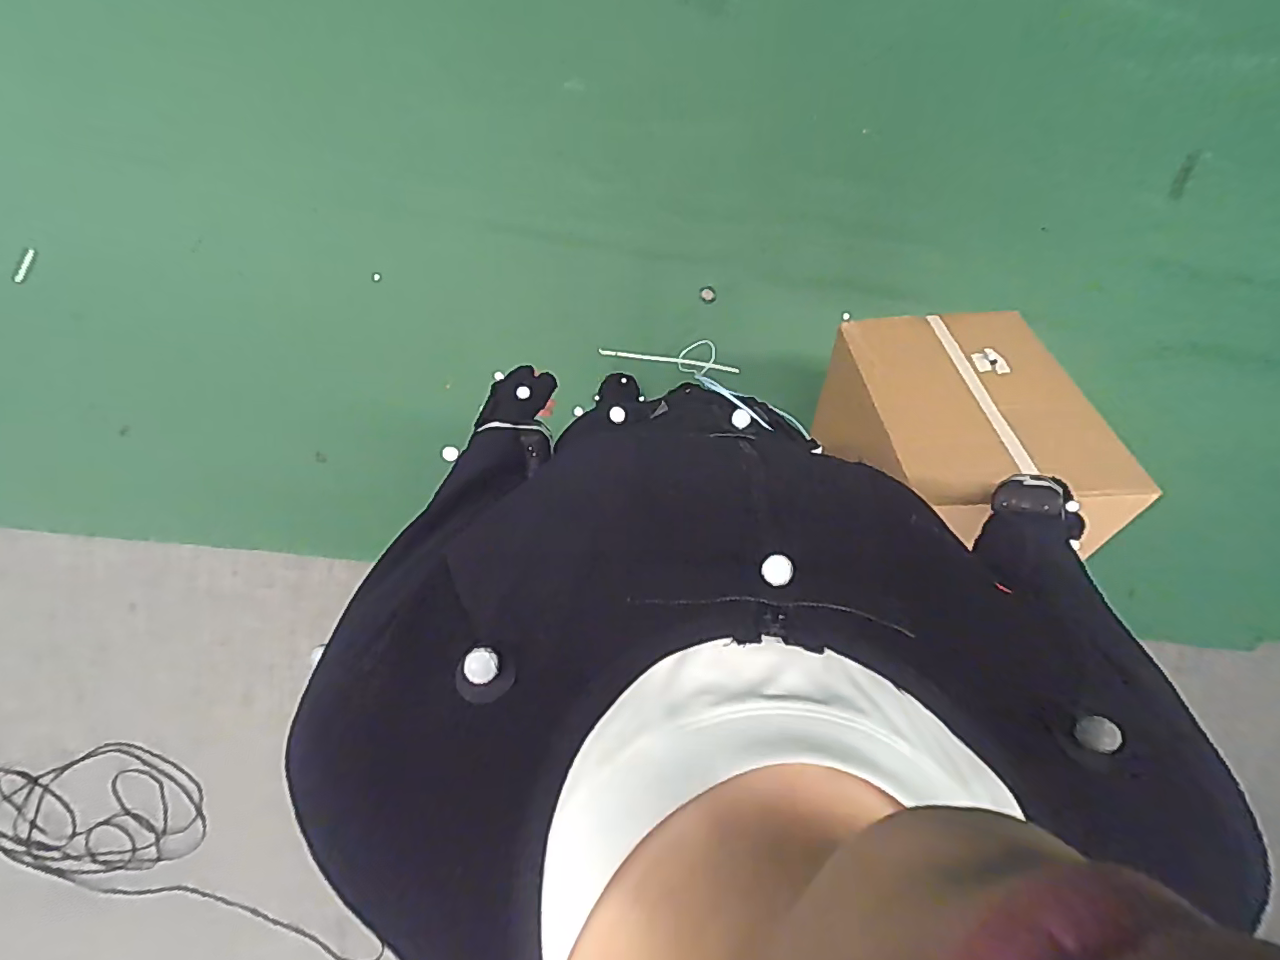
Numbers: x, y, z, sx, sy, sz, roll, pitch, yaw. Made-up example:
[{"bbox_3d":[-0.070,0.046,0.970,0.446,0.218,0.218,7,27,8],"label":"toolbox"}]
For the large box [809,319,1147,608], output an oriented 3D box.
[{"bbox_3d":[0.519,-0.029,0.952,0.320,0.408,0.320,-2,140,1],"label":"large box"}]
